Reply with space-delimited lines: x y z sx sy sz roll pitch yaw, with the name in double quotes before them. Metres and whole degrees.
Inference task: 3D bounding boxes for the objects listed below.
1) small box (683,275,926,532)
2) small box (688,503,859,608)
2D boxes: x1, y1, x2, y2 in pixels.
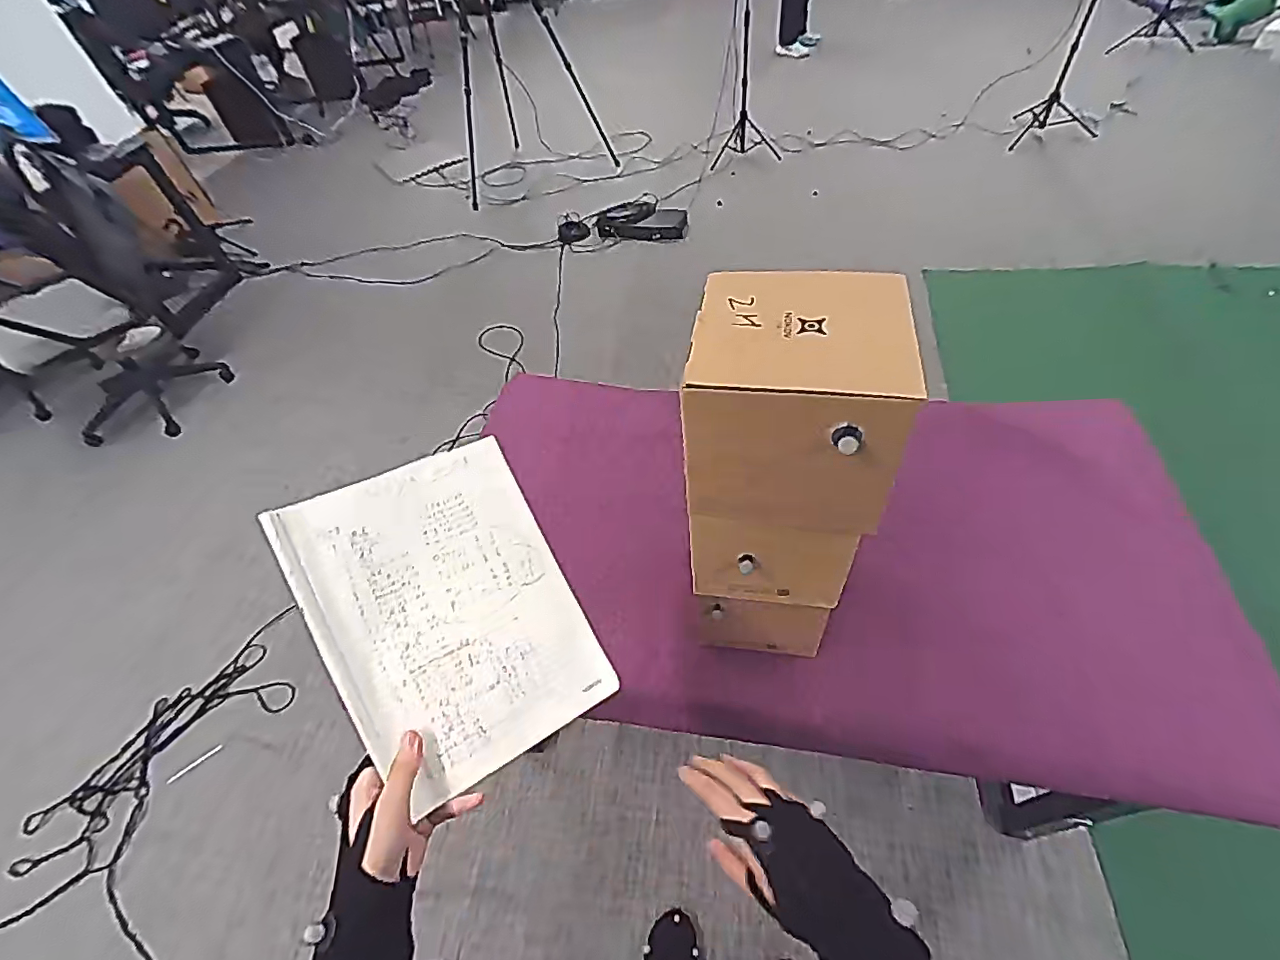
"small box" 0.142 -0.069 0.504 0.179 0.176 0.168 6 50 13
"small box" 0.153 0.032 0.635 0.168 0.176 0.179 4 50 11
